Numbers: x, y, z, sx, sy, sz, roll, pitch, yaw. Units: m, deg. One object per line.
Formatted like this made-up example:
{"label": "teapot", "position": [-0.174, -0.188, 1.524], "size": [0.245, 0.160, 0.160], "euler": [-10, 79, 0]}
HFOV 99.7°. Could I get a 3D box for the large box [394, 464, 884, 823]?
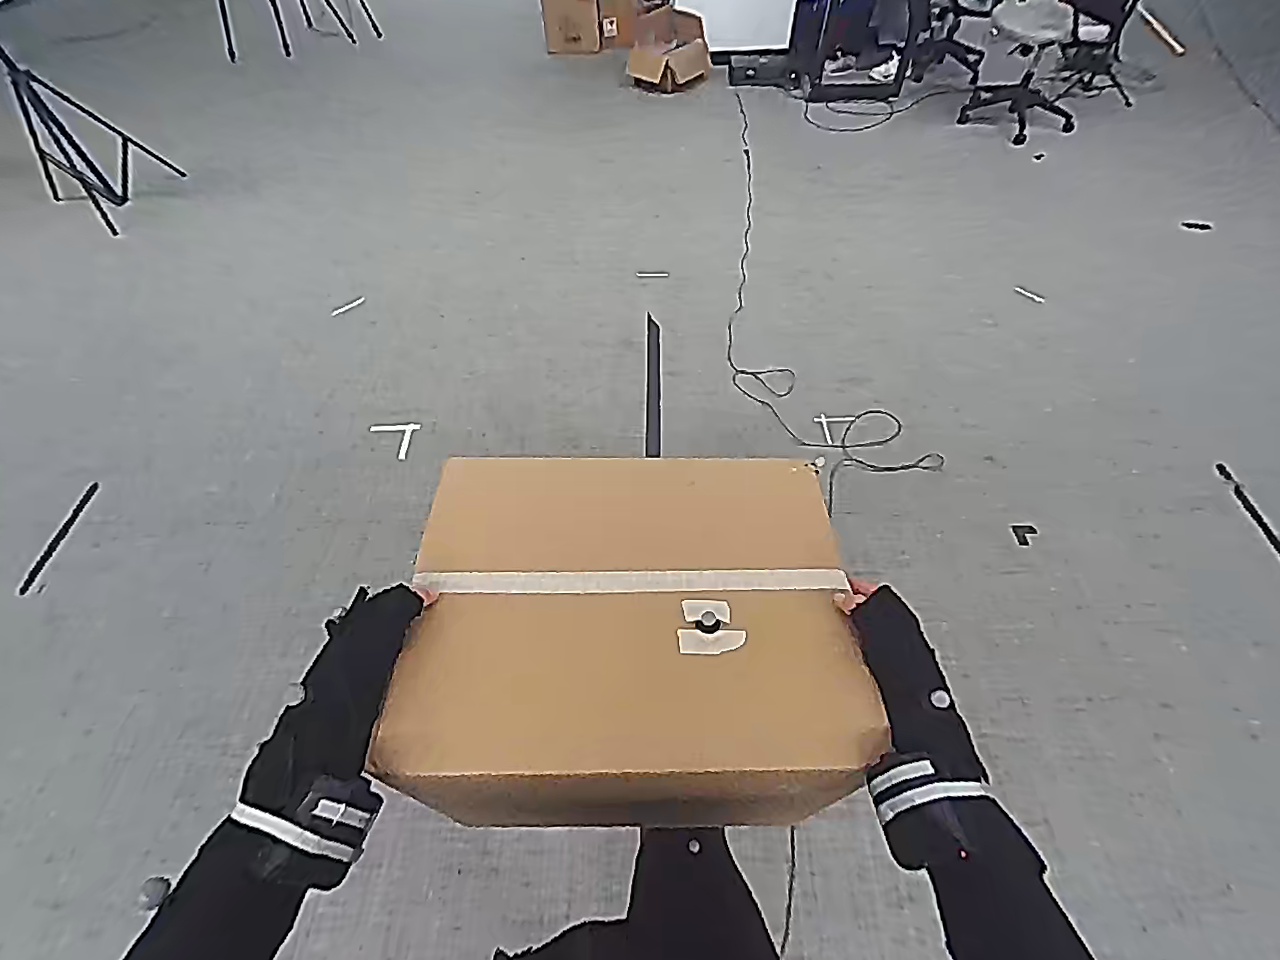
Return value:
{"label": "large box", "position": [-0.006, 0.195, 0.638], "size": [0.408, 0.320, 0.320], "euler": [0, 51, -1]}
